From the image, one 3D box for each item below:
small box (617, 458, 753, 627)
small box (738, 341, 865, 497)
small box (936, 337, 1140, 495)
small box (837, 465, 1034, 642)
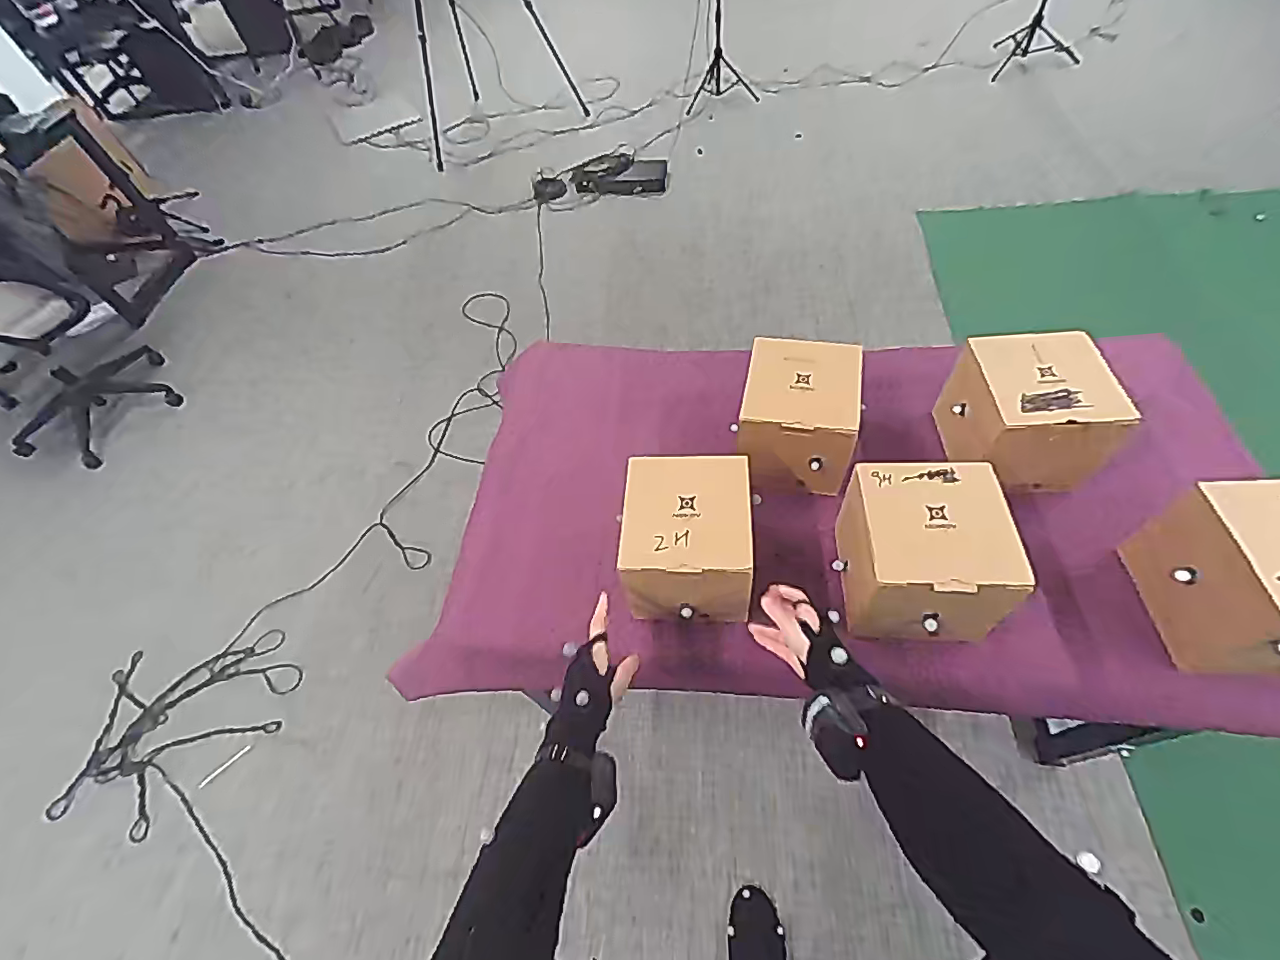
[{"bbox_3d":[0.069,0.088,0.756,0.168,0.176,0.179,0,54,9],"label":"small box"},{"bbox_3d":[0.251,-0.093,0.861,0.168,0.176,0.179,9,57,13],"label":"small box"},{"bbox_3d":[0.573,-0.089,0.811,0.168,0.176,0.179,-1,54,7],"label":"small box"},{"bbox_3d":[0.363,0.100,0.705,0.168,0.176,0.179,1,54,8],"label":"small box"}]
